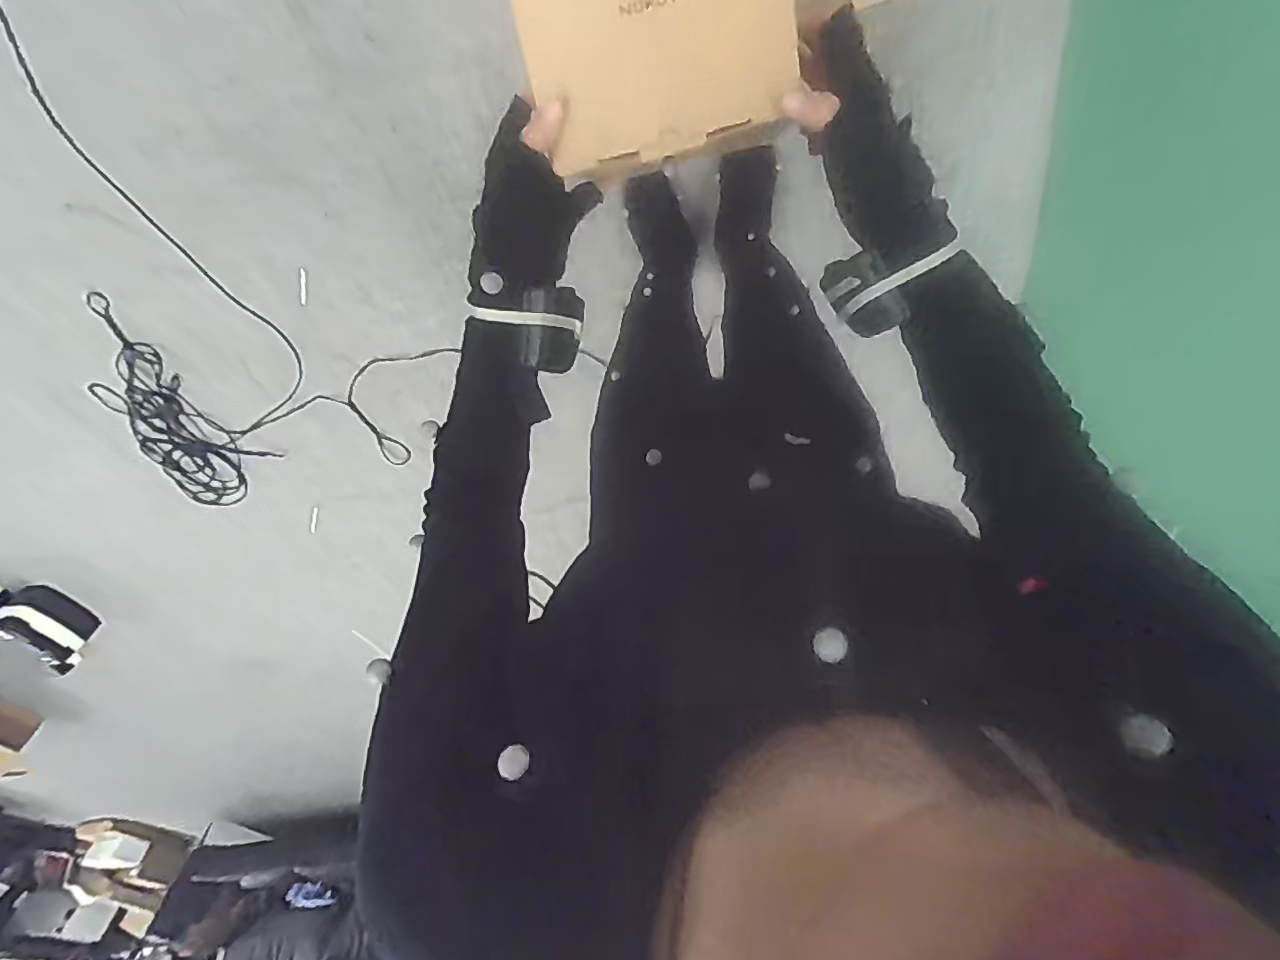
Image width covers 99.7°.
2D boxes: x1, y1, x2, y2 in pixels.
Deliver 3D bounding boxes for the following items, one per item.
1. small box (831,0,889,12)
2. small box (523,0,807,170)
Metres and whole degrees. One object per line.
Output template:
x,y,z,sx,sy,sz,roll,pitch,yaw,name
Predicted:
0.384,-0.856,0.826,0.168,0.176,0.179,-11,131,10,small box
0.019,-0.336,0.382,0.168,0.176,0.179,-7,117,13,small box
